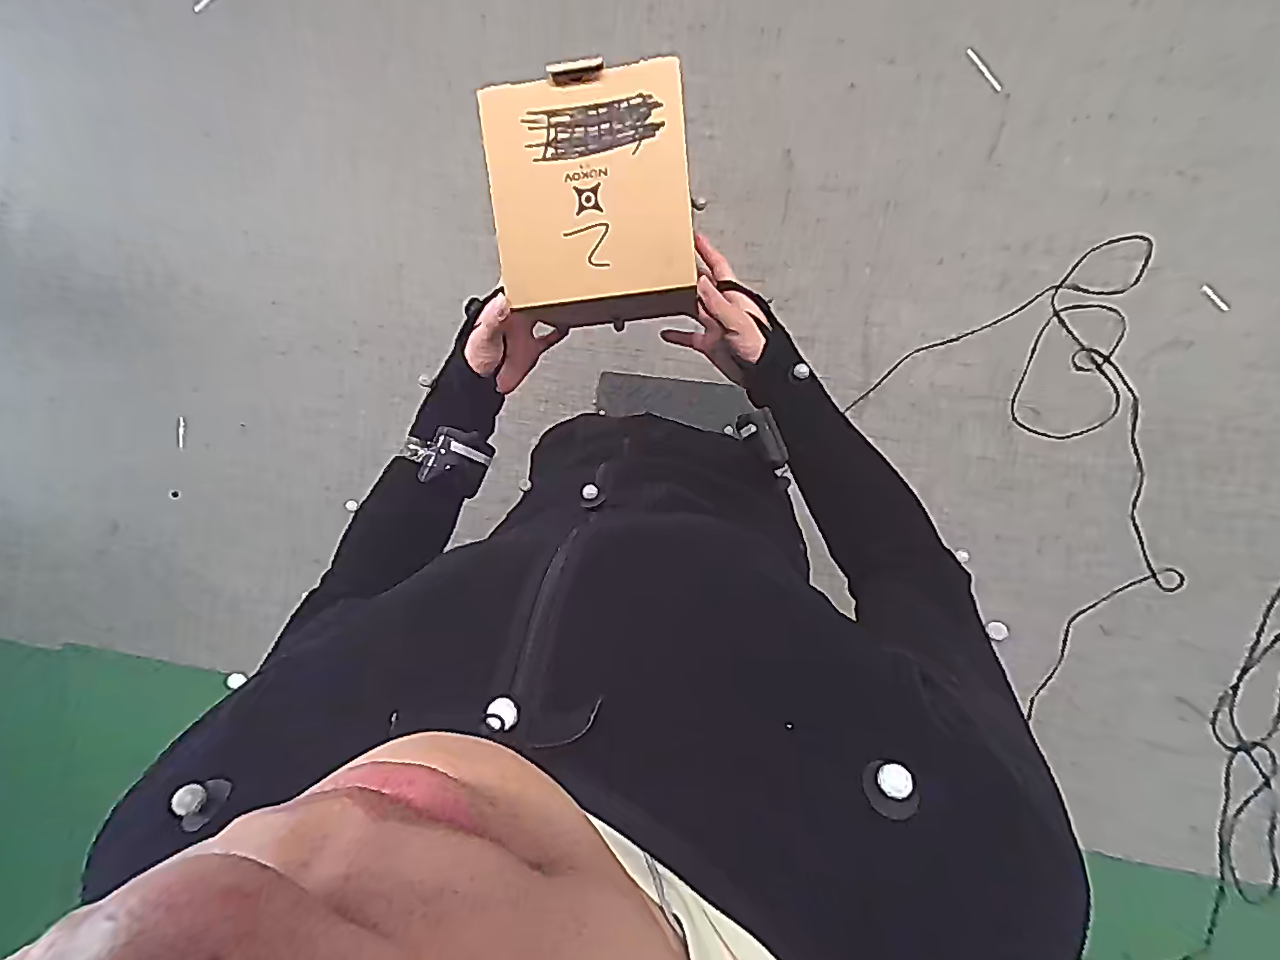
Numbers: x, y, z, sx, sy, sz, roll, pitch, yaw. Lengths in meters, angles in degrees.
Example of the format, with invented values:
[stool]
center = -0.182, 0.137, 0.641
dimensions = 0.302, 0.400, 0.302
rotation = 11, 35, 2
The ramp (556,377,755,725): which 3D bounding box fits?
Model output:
[ramp]
center = 0.048, 0.194, 1.637
dimensions = 0.509, 0.206, 0.991
rotation = 6, 96, 8
